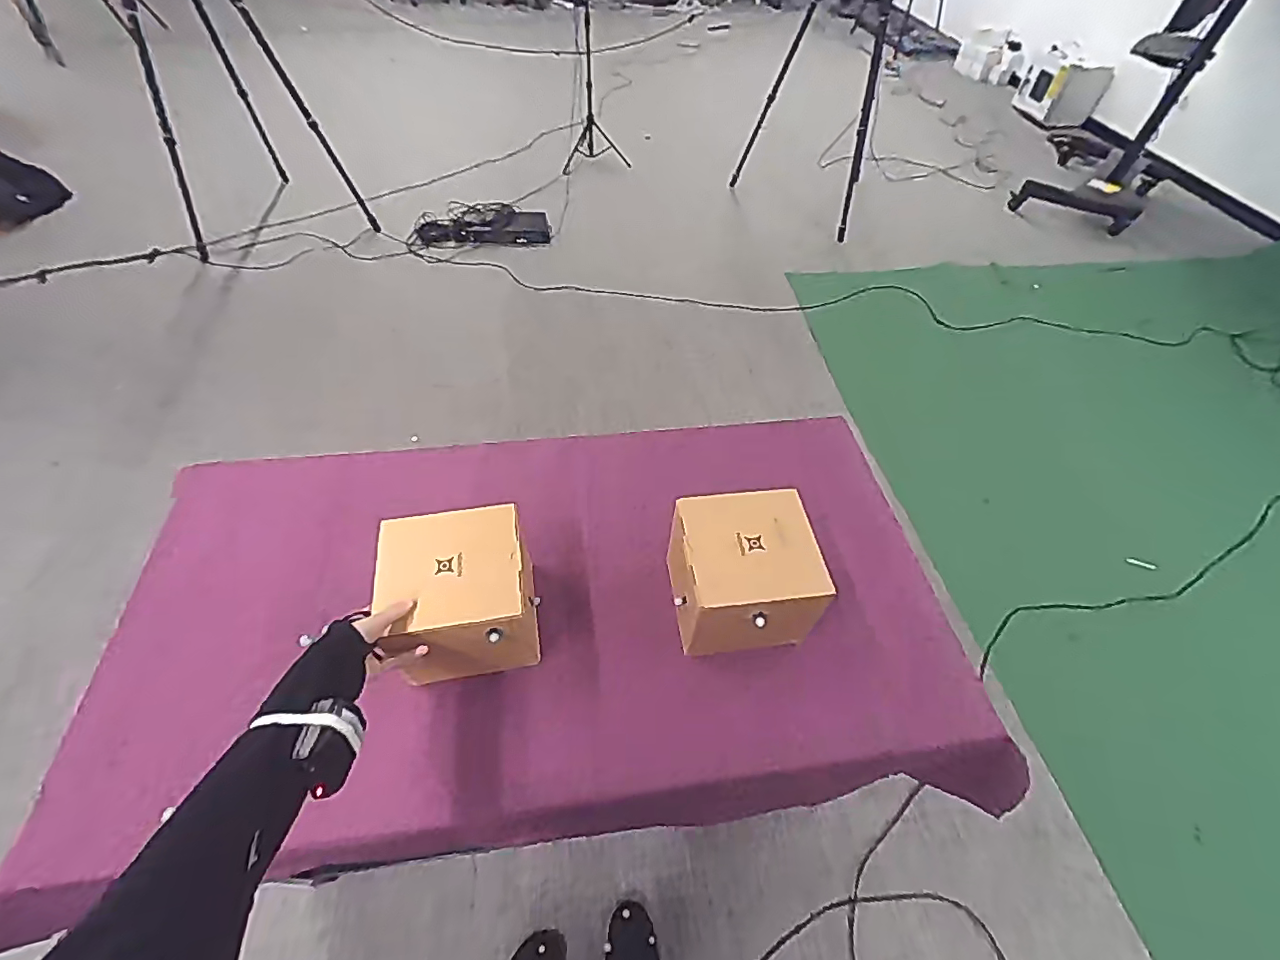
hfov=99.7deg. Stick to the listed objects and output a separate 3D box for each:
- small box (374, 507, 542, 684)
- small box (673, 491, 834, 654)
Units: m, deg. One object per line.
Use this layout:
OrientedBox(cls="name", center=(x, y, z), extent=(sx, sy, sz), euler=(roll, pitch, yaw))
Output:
OrientedBox(cls="small box", center=(-0.237, 0.162, 0.738), extent=(0.179, 0.176, 0.168), euler=(-8, 52, -10))
OrientedBox(cls="small box", center=(0.144, 0.136, 0.772), extent=(0.179, 0.176, 0.168), euler=(-4, 53, -6))
